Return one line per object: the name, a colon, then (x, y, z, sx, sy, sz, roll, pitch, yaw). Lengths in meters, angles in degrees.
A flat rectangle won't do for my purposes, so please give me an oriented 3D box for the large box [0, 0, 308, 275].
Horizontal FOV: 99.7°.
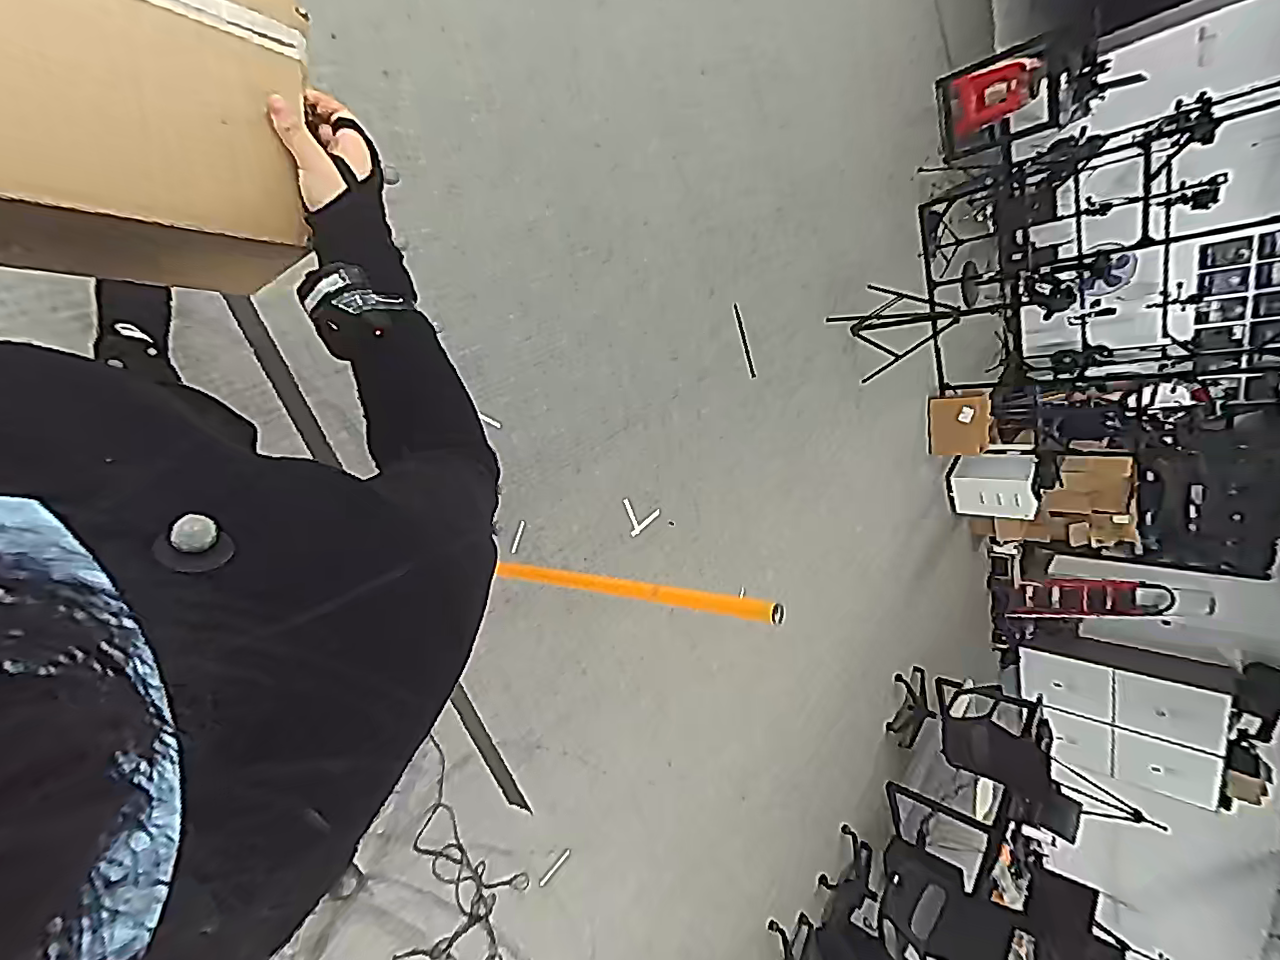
large box: (-0.533, -0.364, 0.422, 0.408, 0.320, 0.320, -7, 101, -42)
